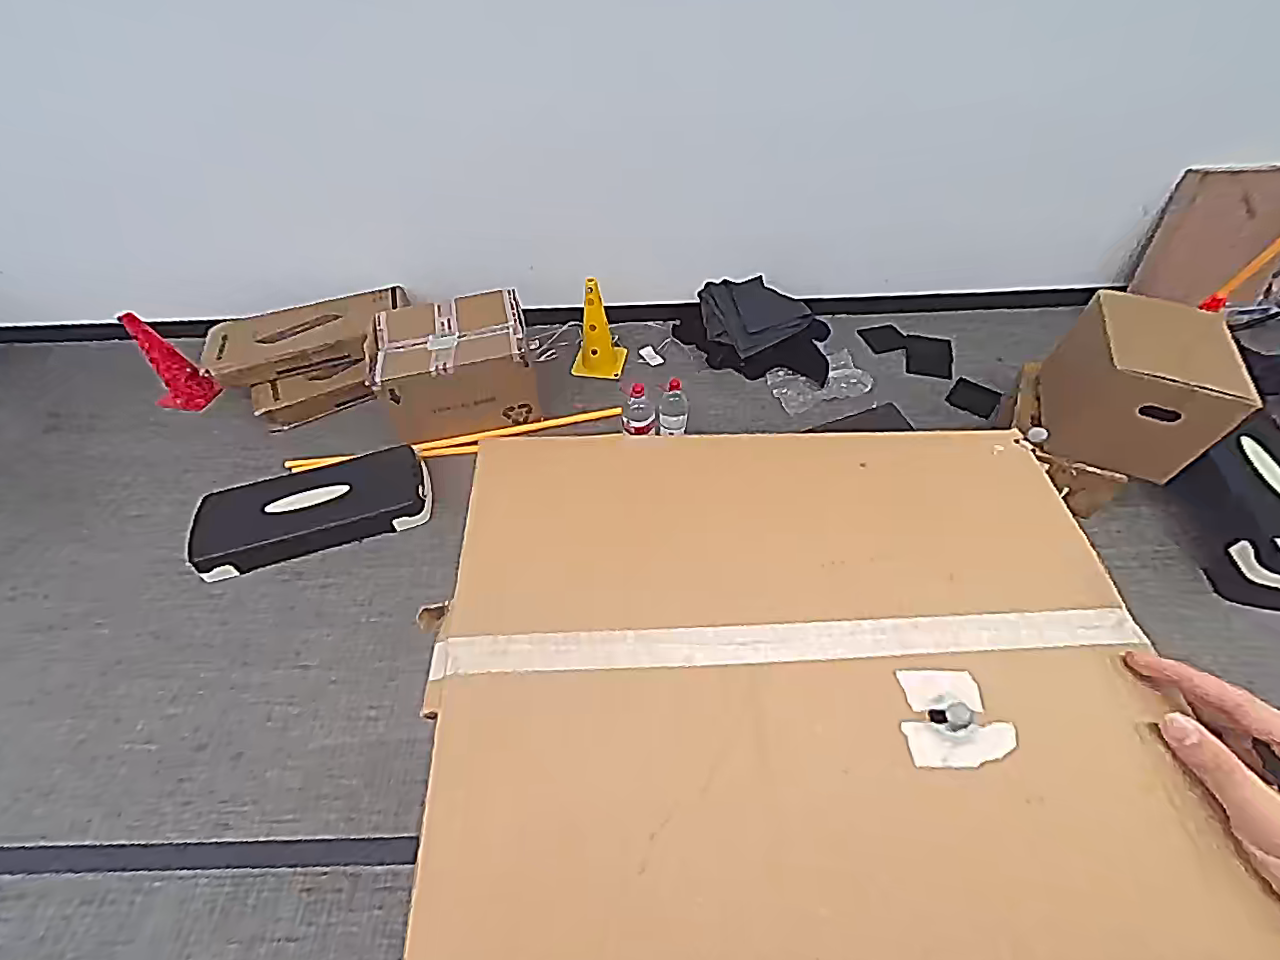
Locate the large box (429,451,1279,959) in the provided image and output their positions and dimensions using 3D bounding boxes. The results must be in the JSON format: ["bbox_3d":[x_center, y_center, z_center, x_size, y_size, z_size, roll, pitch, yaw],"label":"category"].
[{"bbox_3d":[0.086,0.193,0.442,0.408,0.320,0.320,-1,55,-4],"label":"large box"}]
